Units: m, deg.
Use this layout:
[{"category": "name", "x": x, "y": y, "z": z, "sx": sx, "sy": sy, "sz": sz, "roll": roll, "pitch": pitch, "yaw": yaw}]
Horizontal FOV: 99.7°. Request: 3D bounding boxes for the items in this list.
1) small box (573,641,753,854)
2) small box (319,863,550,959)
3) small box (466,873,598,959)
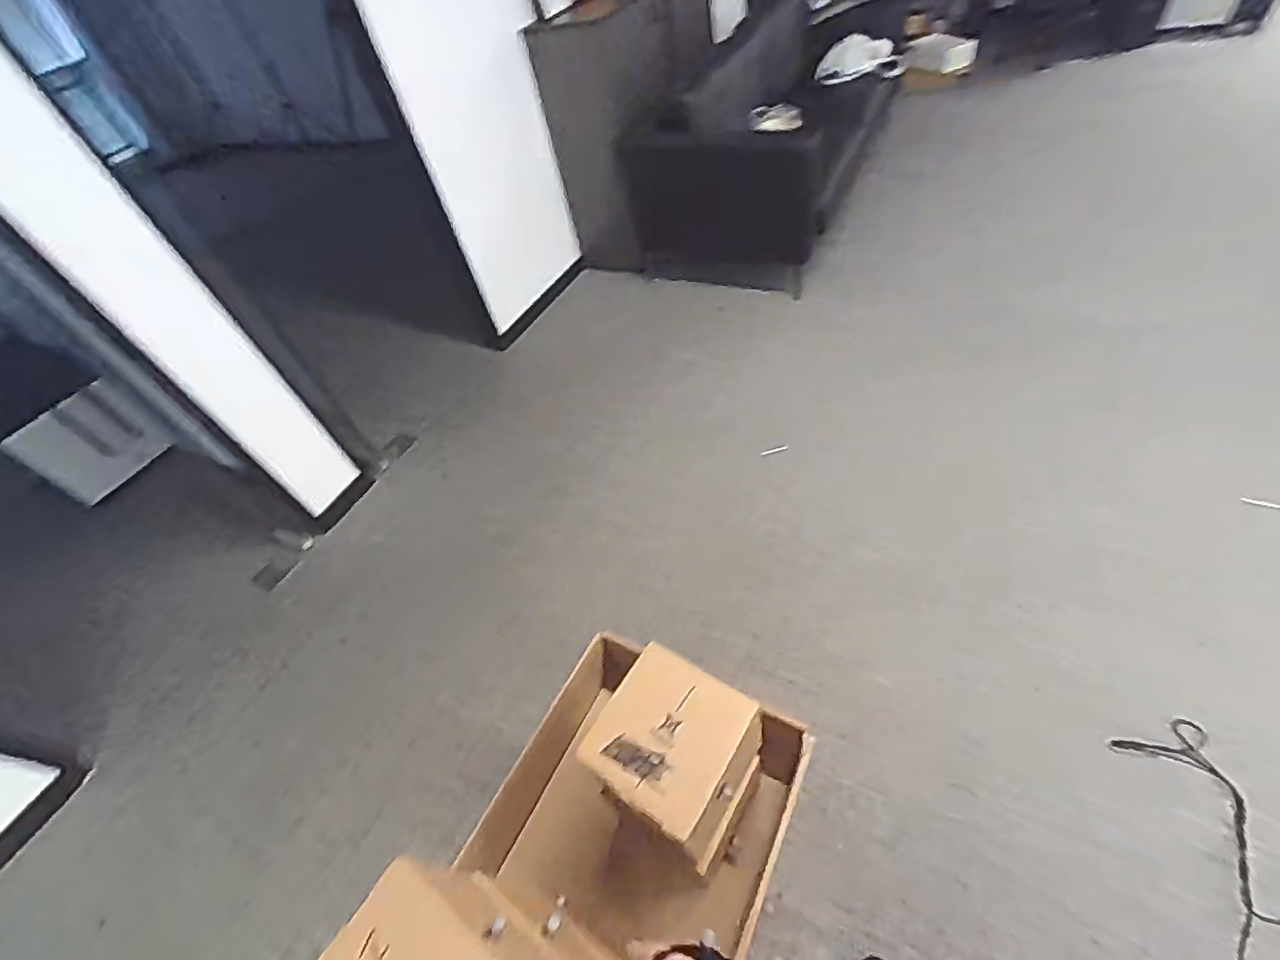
[{"category": "small box", "x": 0.043, "y": 0.357, "z": 0.718, "sx": 0.168, "sy": 0.176, "sz": 0.179, "roll": 22, "pitch": 57, "yaw": 29}, {"category": "small box", "x": -0.174, "y": 0.466, "z": 0.452, "sx": 0.179, "sy": 0.176, "sz": 0.168, "roll": 22, "pitch": 57, "yaw": 29}, {"category": "small box", "x": -0.144, "y": 0.569, "z": 0.577, "sx": 0.179, "sy": 0.176, "sz": 0.168, "roll": 22, "pitch": 57, "yaw": 29}]
